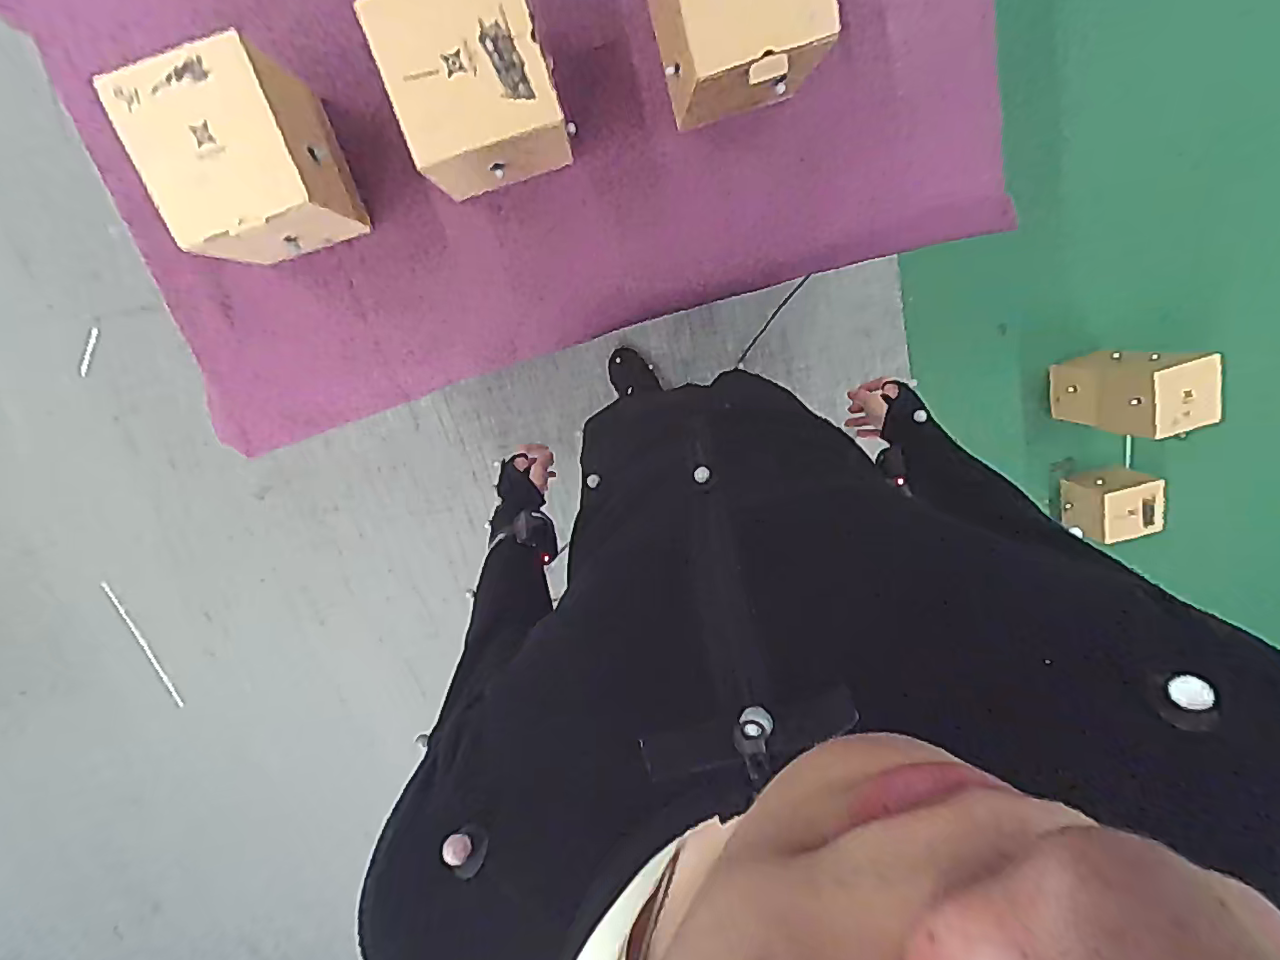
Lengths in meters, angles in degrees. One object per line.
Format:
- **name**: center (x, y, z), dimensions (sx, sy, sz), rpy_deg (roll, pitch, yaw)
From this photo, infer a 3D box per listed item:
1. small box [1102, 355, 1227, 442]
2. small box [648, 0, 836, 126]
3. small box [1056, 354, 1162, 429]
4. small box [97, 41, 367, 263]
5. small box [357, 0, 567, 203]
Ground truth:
- **small box**: center (1.330, -0.213, 1.382), dimensions (0.168, 0.176, 0.179), rpy_deg (-17, 105, 2)
- **small box**: center (0.112, -0.555, 0.646), dimensions (0.168, 0.176, 0.179), rpy_deg (-16, 105, 2)
- **small box**: center (1.327, -0.255, 1.541), dimensions (0.179, 0.176, 0.168), rpy_deg (-17, 105, 1)
- **small box**: center (-0.474, -0.379, 0.665), dimensions (0.168, 0.176, 0.179), rpy_deg (-18, 106, 1)
- **small box**: center (-0.194, -0.462, 0.657), dimensions (0.179, 0.176, 0.168), rpy_deg (-17, 106, 3)
